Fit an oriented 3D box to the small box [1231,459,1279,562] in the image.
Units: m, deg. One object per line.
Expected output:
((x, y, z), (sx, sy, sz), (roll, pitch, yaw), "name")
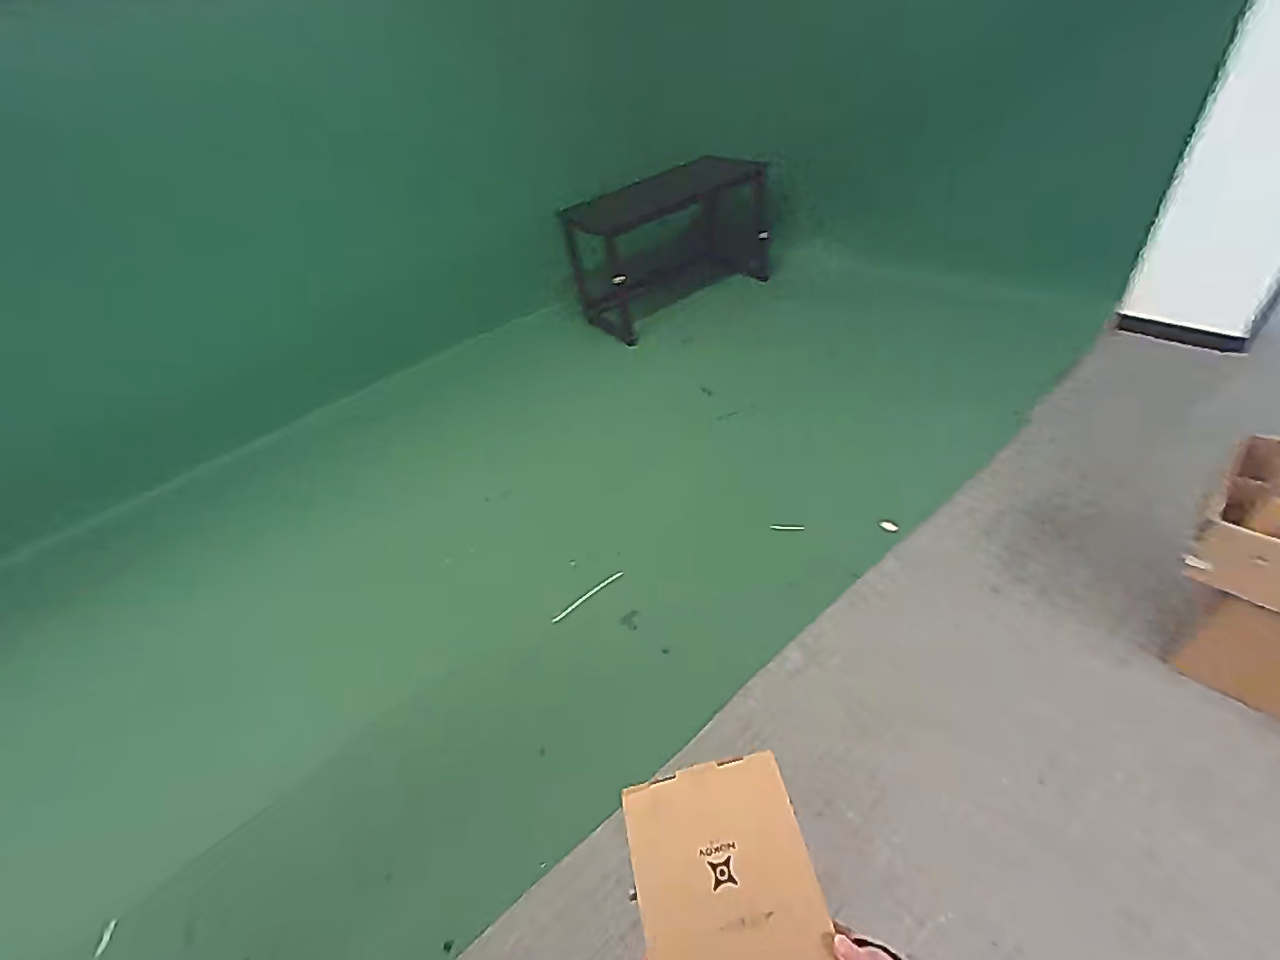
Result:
((1.526, 0.086, 1.247), (0.179, 0.176, 0.168), (-38, 47, -27), "small box")

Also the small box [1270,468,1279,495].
((1.500, -0.034, 1.137), (0.179, 0.176, 0.168), (-35, 46, -24), "small box")

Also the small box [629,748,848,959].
((0.090, 0.406, 0.554), (0.168, 0.176, 0.179), (-13, 47, 0), "small box")
